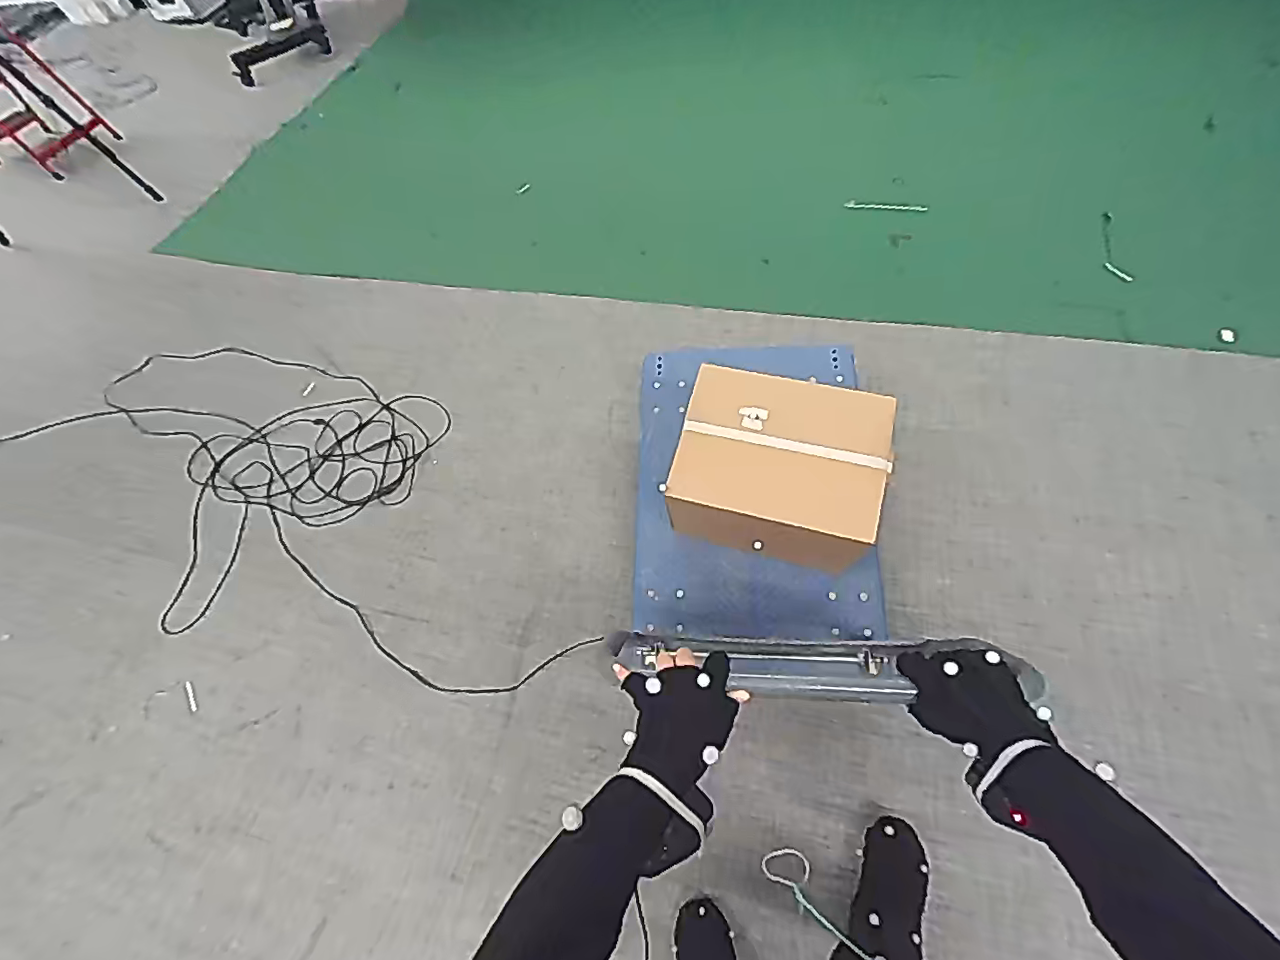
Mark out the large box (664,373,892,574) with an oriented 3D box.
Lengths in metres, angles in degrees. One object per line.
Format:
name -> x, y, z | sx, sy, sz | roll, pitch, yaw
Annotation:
large box -> 0.299, -0.004, 1.215 | 0.408, 0.320, 0.320 | 13, 71, 13
